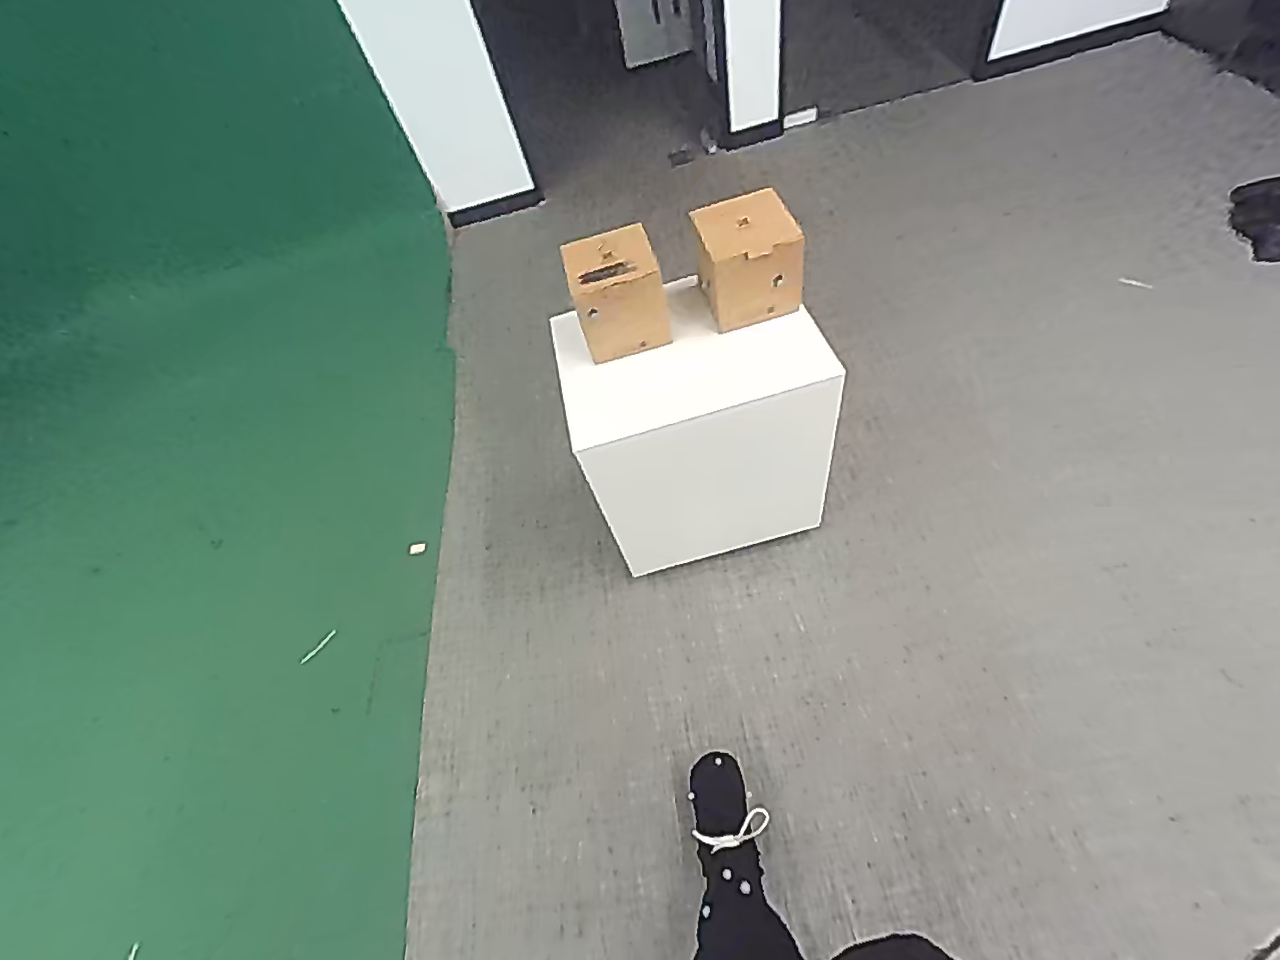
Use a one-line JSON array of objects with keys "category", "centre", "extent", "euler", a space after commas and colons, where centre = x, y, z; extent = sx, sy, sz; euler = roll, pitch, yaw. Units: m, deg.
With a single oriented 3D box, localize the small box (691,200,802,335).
[{"category": "small box", "centre": [0.206, -0.405, 1.056], "extent": [0.168, 0.176, 0.179], "euler": [-15, 53, 1]}]
